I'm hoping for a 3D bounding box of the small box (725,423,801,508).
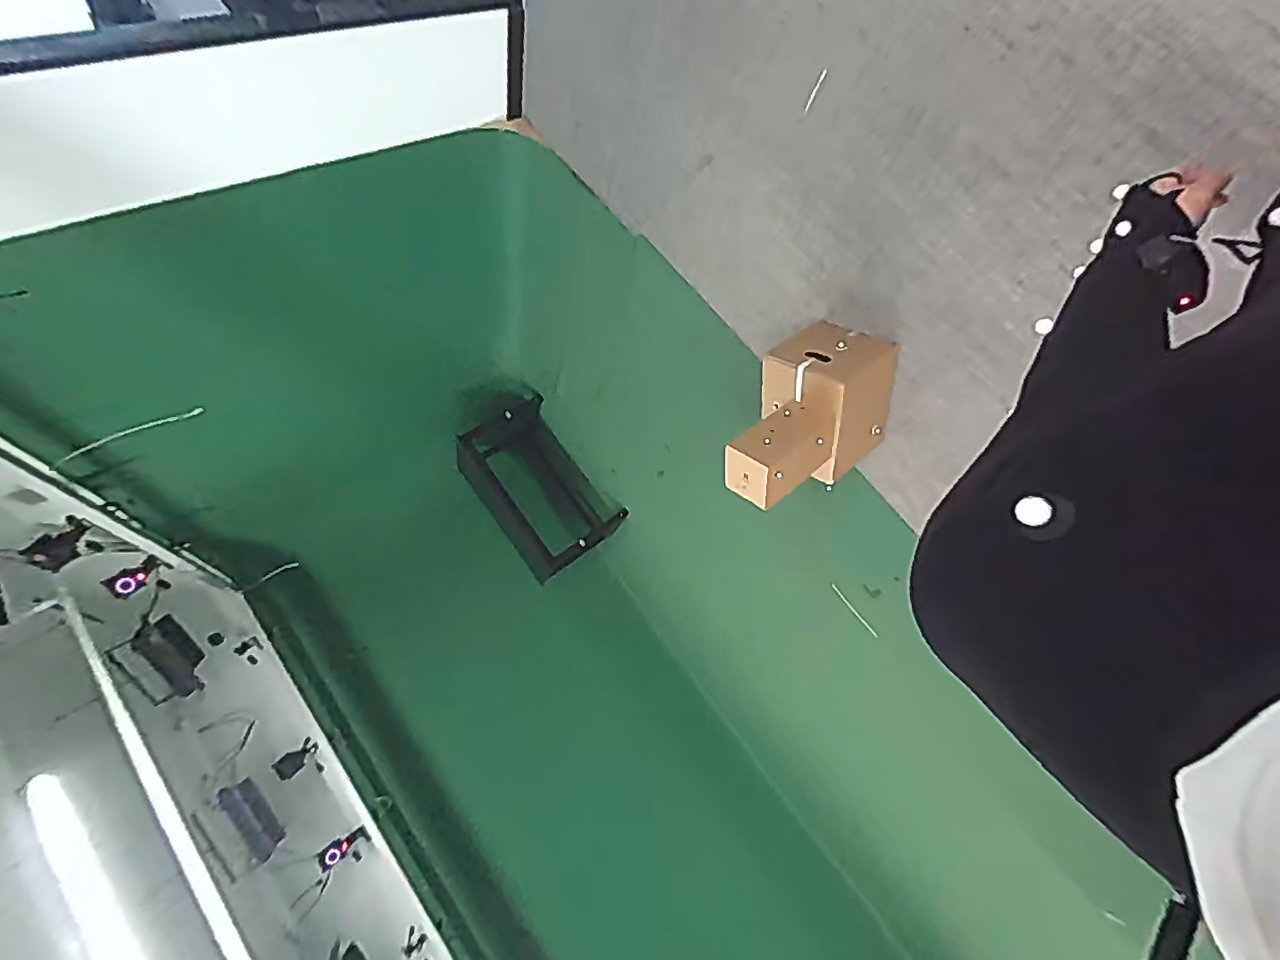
[{"bbox_3d":[0.381,-0.052,1.680,0.168,0.176,0.179,35,147,38],"label":"small box"}]

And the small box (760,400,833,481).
[{"bbox_3d":[0.504,-0.135,1.752,0.168,0.176,0.179,33,146,39],"label":"small box"}]
